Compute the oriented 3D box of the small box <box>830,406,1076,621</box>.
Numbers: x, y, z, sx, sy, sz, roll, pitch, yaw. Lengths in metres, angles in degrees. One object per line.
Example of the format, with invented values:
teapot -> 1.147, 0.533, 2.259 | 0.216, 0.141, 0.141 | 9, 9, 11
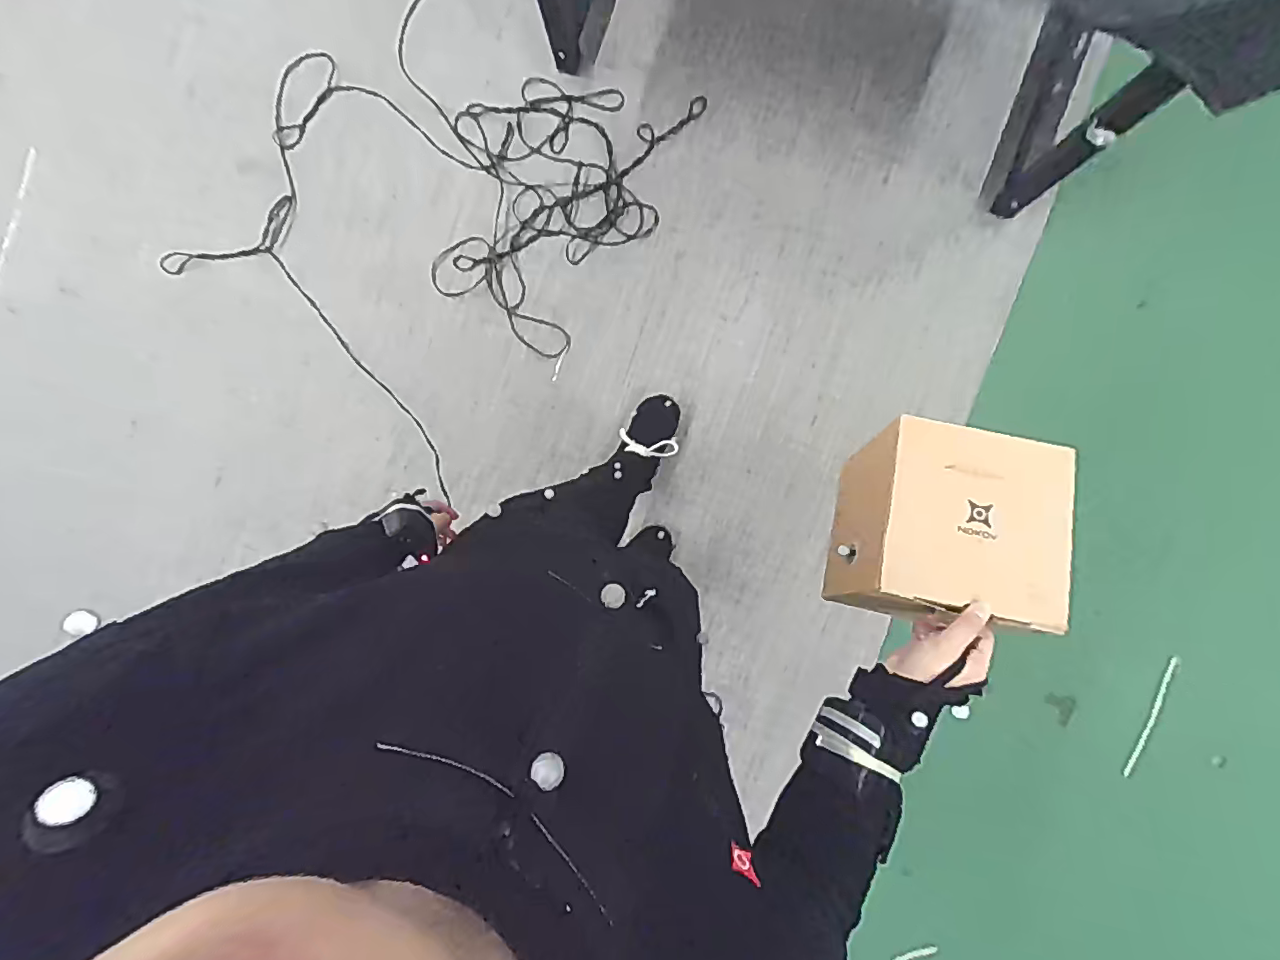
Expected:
small box -> 0.313, 0.046, 0.571 | 0.168, 0.176, 0.179 | 11, 75, 4
